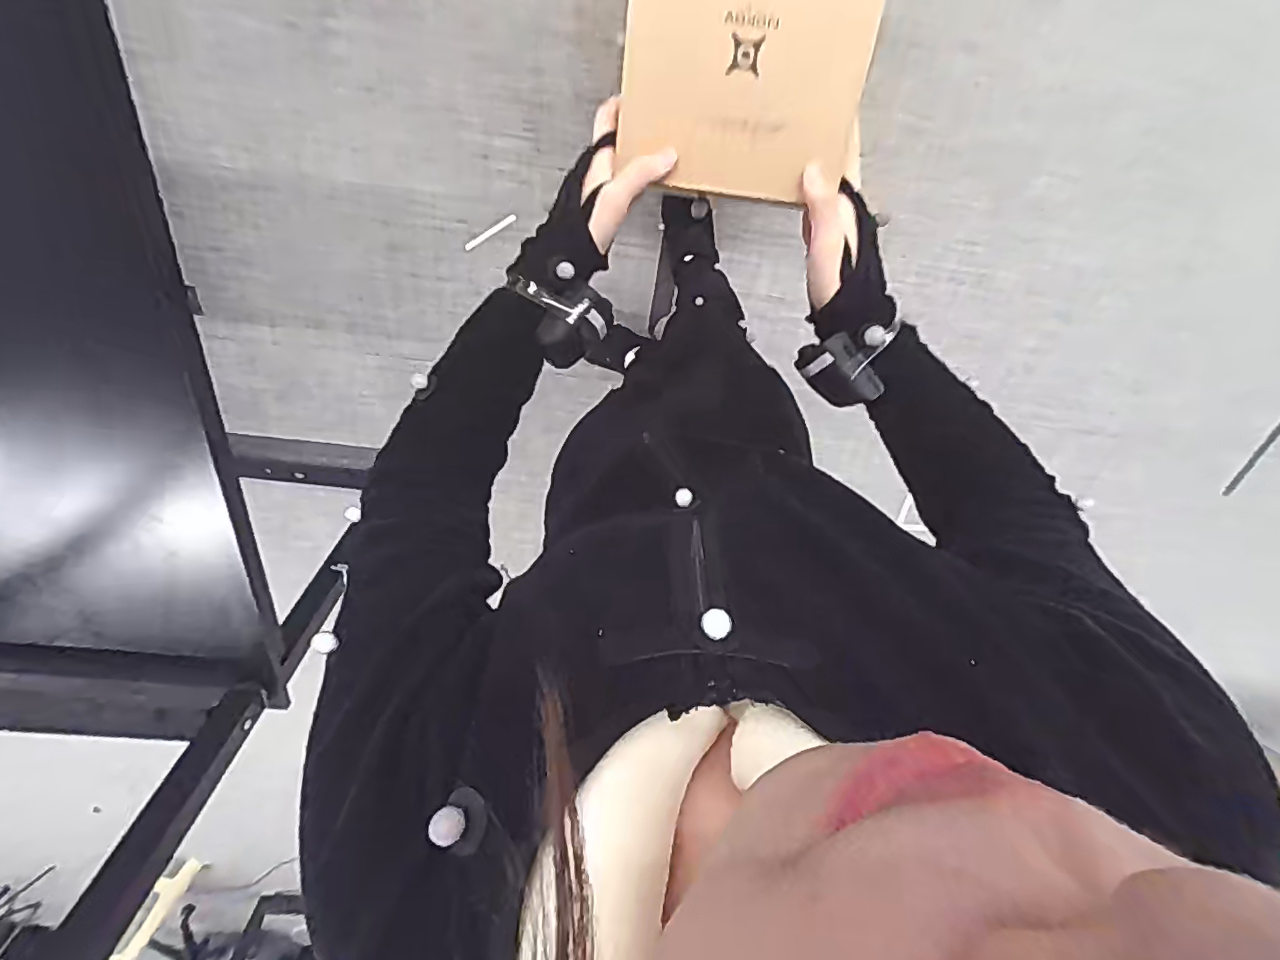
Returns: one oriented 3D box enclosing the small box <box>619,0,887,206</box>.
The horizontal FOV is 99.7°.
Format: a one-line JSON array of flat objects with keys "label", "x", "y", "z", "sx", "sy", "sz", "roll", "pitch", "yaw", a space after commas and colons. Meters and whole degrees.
[{"label": "small box", "x": 0.084, "y": -0.332, "z": 0.435, "sx": 0.168, "sy": 0.176, "sz": 0.179, "roll": 10, "pitch": 115, "yaw": 3}]
